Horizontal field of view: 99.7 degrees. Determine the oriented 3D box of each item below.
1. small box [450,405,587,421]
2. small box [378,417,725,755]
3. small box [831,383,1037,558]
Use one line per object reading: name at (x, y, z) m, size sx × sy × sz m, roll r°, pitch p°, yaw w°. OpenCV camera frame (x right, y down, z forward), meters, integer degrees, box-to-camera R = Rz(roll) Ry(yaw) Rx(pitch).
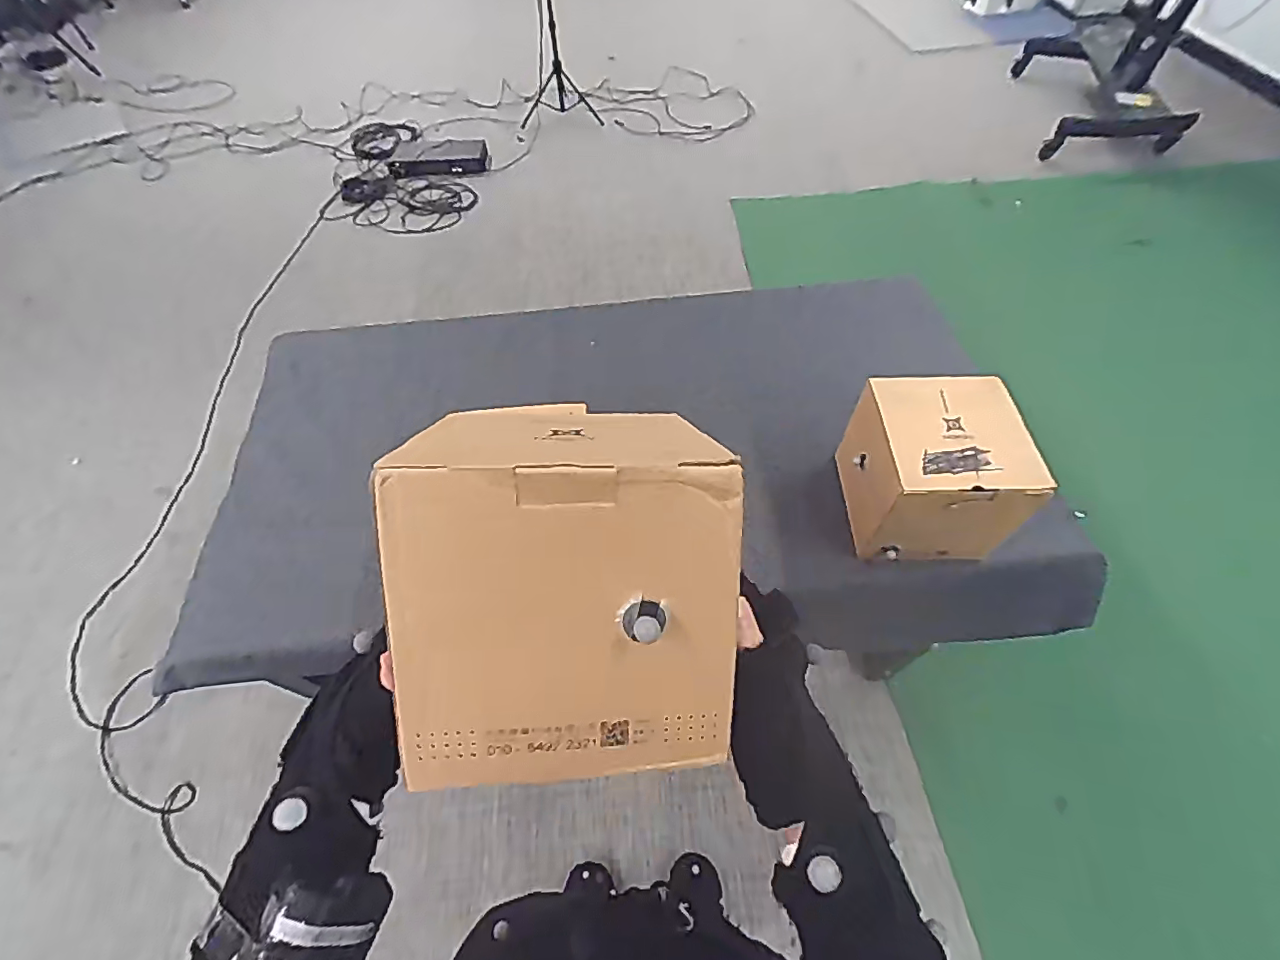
small box at (-0.147, 0.023, 0.706) m, size 0.179 × 0.176 × 0.168 m, roll -4°, pitch 55°, yaw -2°
small box at (-0.048, 0.053, 0.349) m, size 0.168 × 0.176 × 0.179 m, roll 0°, pitch 13°, yaw -8°
small box at (0.366, -0.008, 0.715) m, size 0.168 × 0.176 × 0.179 m, roll 1°, pitch 55°, yaw 2°
